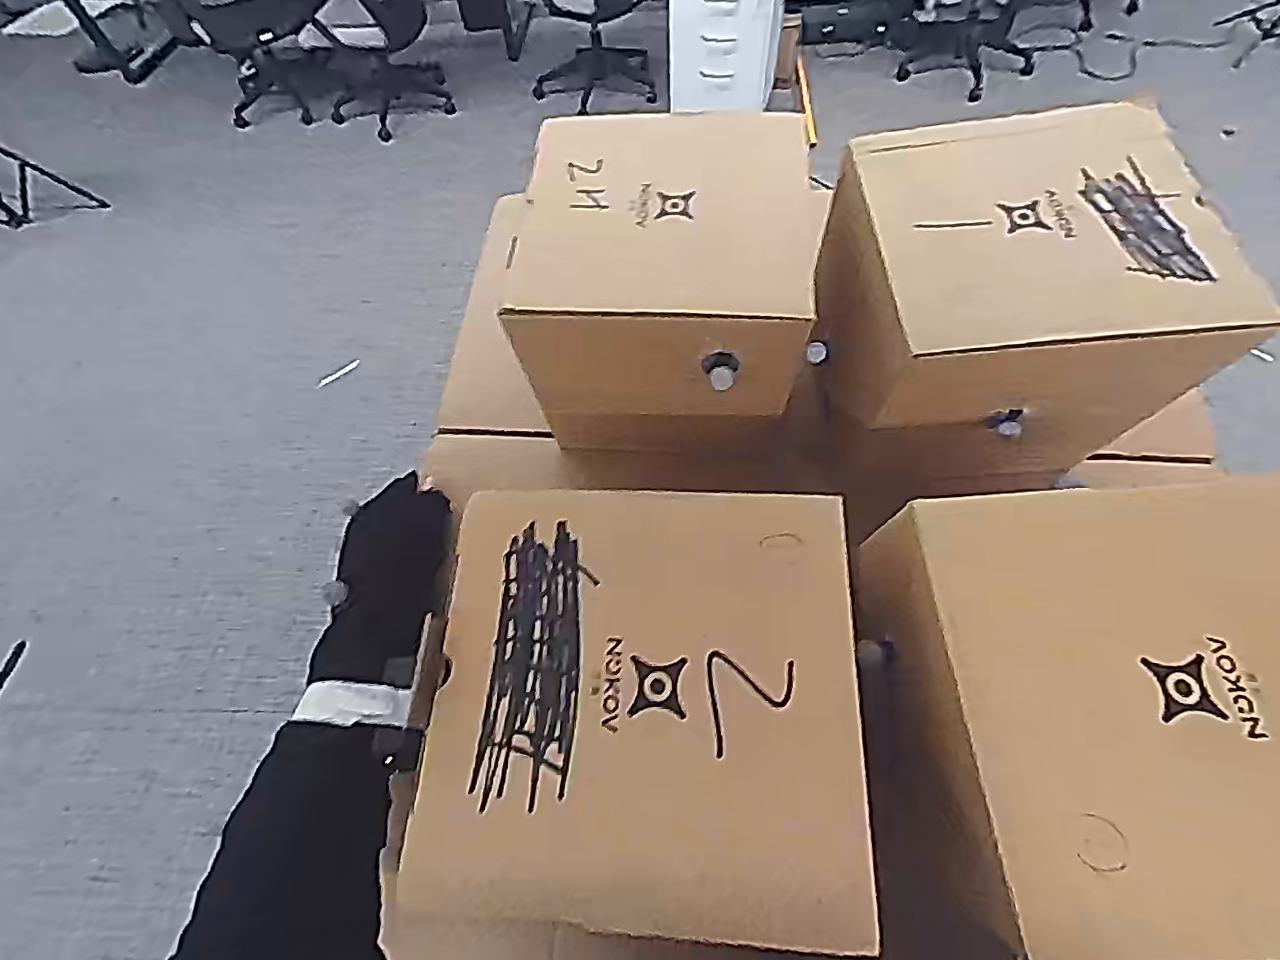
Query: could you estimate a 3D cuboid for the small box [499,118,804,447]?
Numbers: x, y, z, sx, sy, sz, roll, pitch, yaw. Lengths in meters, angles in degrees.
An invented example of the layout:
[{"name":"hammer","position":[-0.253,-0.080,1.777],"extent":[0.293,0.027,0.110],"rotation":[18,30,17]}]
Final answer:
[{"name":"small box","position":[0.019,-0.136,0.409],"extent":[0.179,0.176,0.168],"rotation":[4,66,8]}]
